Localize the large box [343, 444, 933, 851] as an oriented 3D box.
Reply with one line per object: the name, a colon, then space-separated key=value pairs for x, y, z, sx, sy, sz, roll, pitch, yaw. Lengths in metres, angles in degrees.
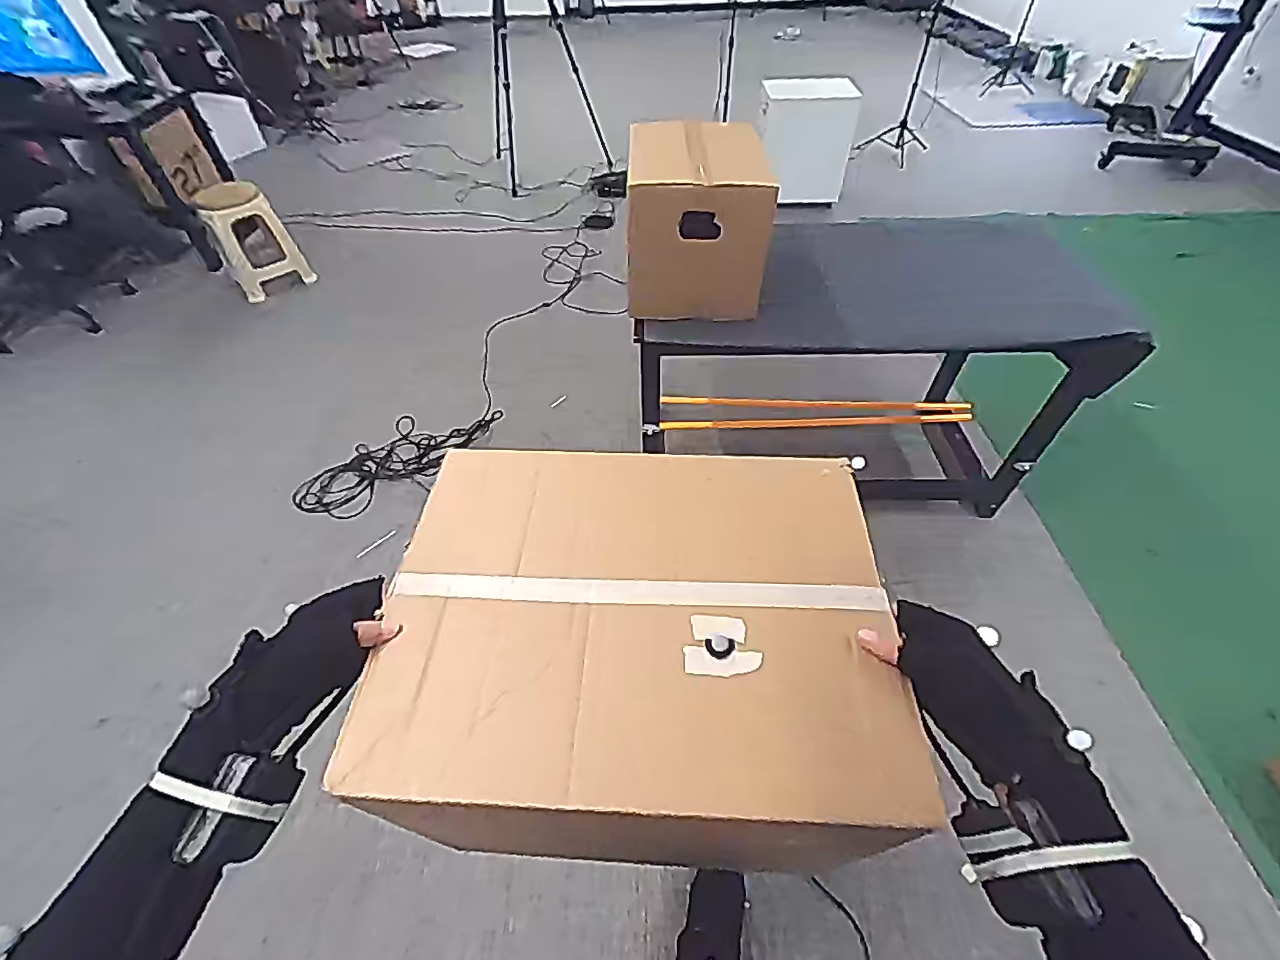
large box: x=0.000 y=0.180 z=0.565 sx=0.408 sy=0.320 sz=0.320 roll=2 pitch=51 yaw=2
